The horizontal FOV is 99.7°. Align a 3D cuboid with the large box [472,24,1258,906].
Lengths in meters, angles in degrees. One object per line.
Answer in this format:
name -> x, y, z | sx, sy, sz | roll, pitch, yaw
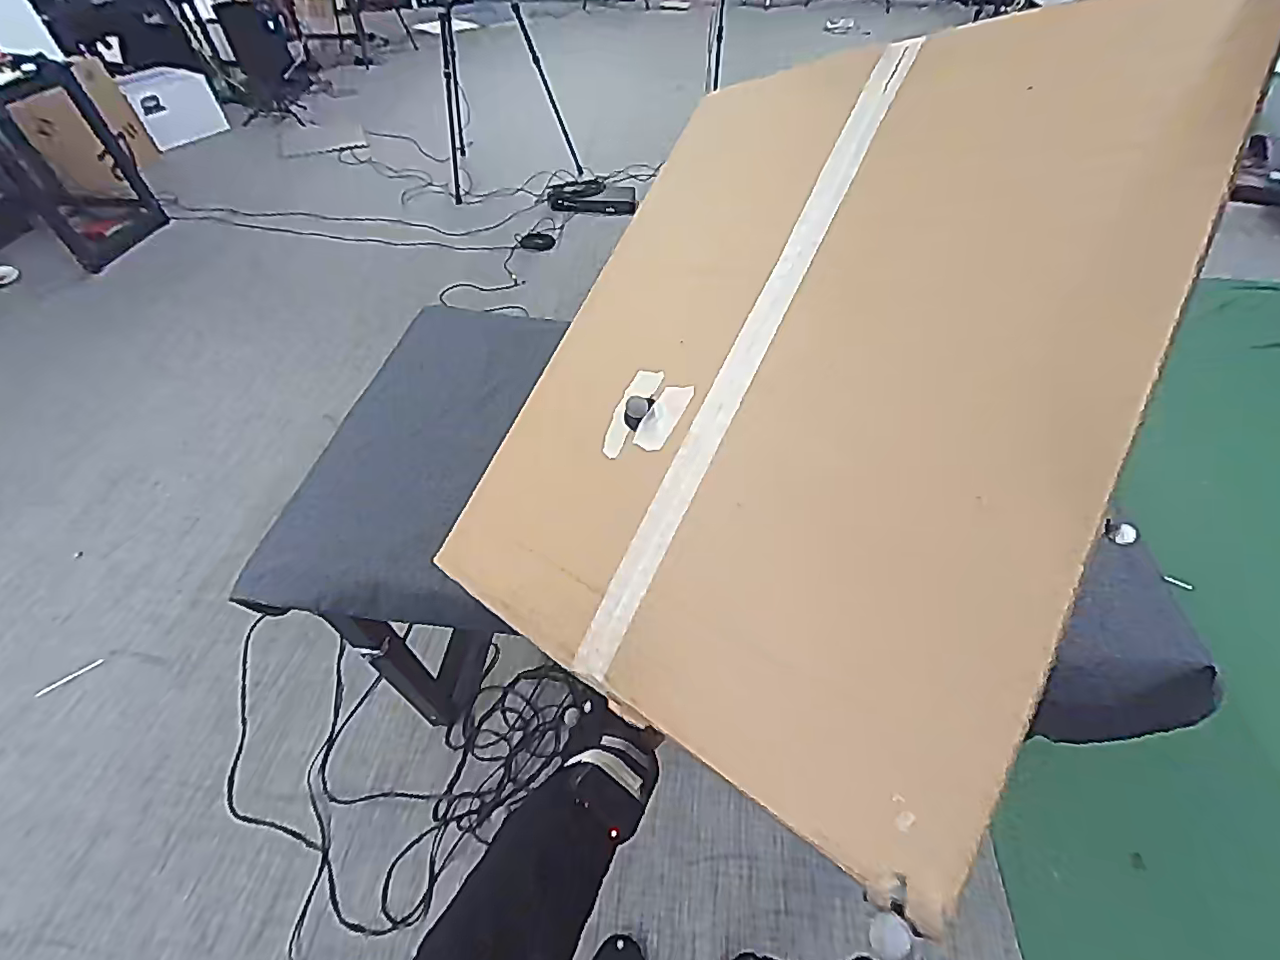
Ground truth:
large box -> 0.157, -0.015, 0.420 | 0.320, 0.320, 0.408 | 20, 80, 39
